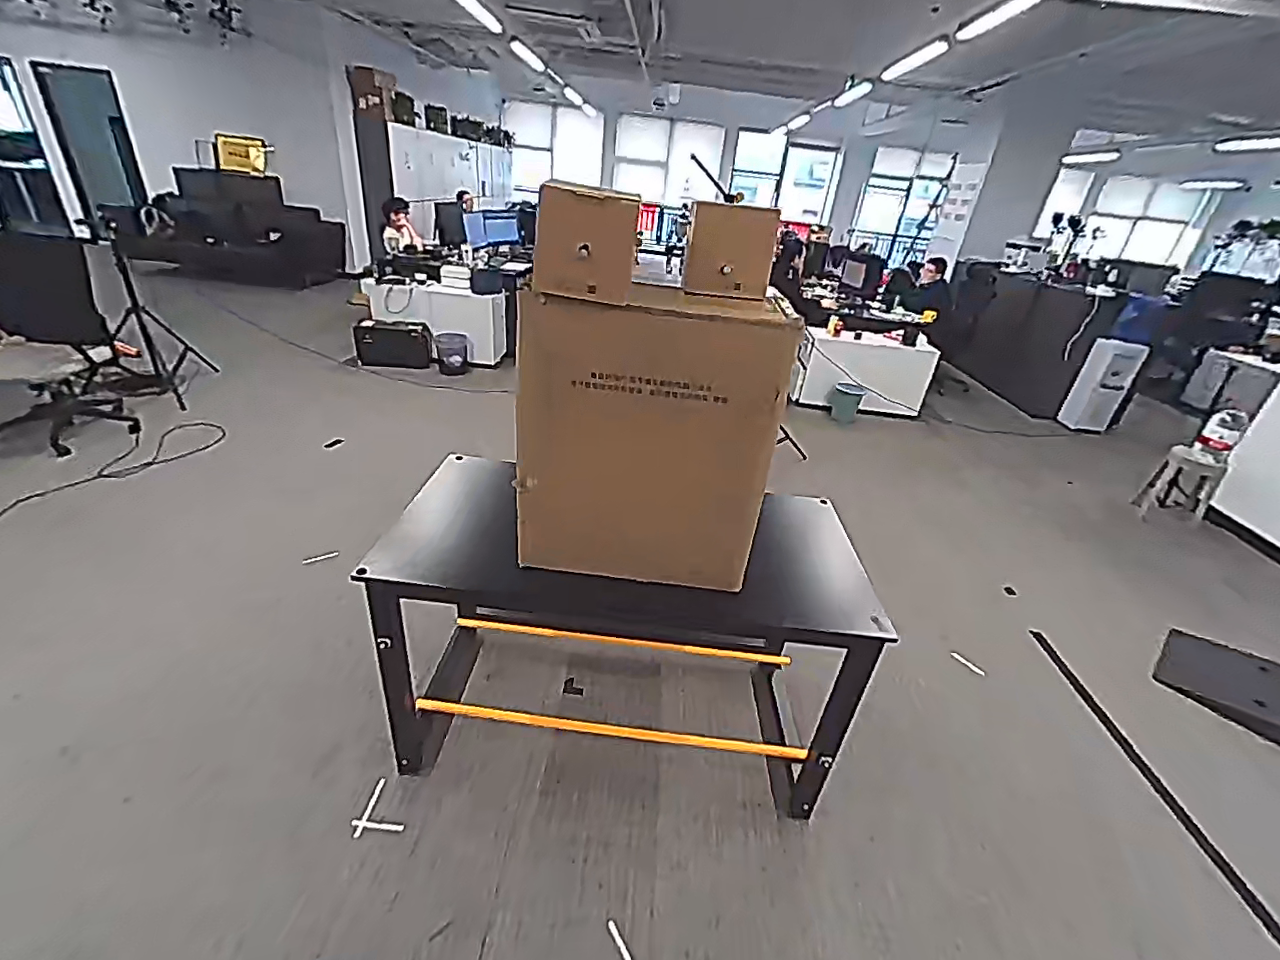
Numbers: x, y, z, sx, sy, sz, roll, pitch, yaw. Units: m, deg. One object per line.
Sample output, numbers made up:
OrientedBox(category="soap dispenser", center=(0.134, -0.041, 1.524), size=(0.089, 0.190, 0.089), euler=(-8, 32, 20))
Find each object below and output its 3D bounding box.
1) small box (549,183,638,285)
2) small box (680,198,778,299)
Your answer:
OrientedBox(category="small box", center=(-0.097, -0.517, 1.136), size=(0.168, 0.176, 0.179), euler=(6, 29, -1))
OrientedBox(category="small box", center=(0.175, -0.484, 1.127), size=(0.168, 0.176, 0.179), euler=(4, 28, -1))
